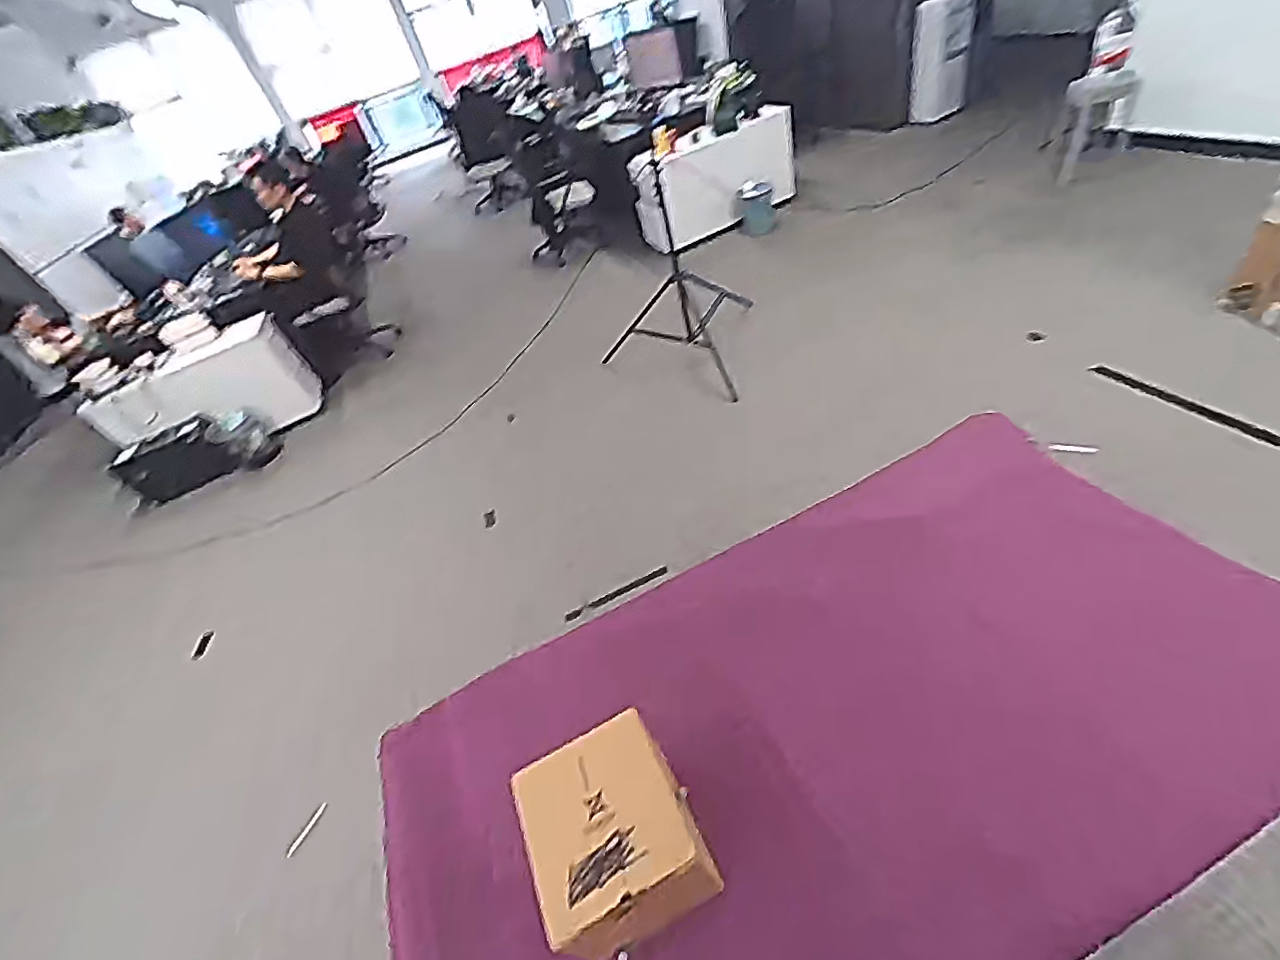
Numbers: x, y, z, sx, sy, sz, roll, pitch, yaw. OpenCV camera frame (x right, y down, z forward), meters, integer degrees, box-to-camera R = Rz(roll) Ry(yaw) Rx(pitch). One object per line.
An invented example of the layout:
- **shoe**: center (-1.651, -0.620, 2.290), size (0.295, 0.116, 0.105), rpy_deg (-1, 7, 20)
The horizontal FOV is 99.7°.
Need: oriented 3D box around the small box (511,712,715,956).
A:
- **small box**: center (-0.028, 0.420, 0.640), size (0.168, 0.176, 0.179), rpy_deg (-27, 42, -8)
